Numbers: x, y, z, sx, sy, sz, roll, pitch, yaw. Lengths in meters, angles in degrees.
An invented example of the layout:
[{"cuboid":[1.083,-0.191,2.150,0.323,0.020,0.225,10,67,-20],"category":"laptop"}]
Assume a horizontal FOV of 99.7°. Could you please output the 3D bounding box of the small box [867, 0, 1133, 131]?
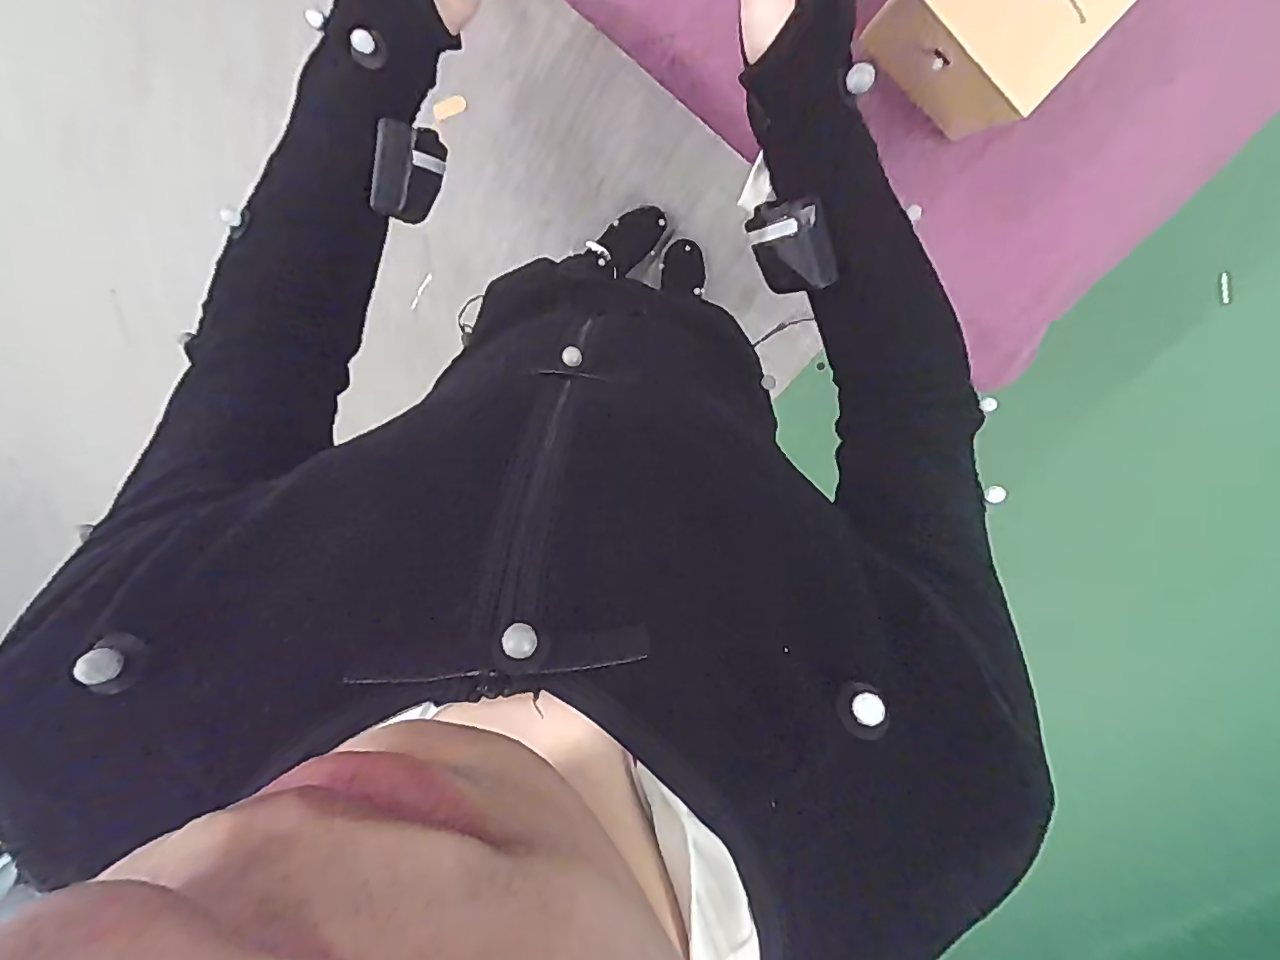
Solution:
[{"cuboid":[0.376,-0.508,0.572,0.179,0.176,0.168,37,113,-13],"category":"small box"}]
